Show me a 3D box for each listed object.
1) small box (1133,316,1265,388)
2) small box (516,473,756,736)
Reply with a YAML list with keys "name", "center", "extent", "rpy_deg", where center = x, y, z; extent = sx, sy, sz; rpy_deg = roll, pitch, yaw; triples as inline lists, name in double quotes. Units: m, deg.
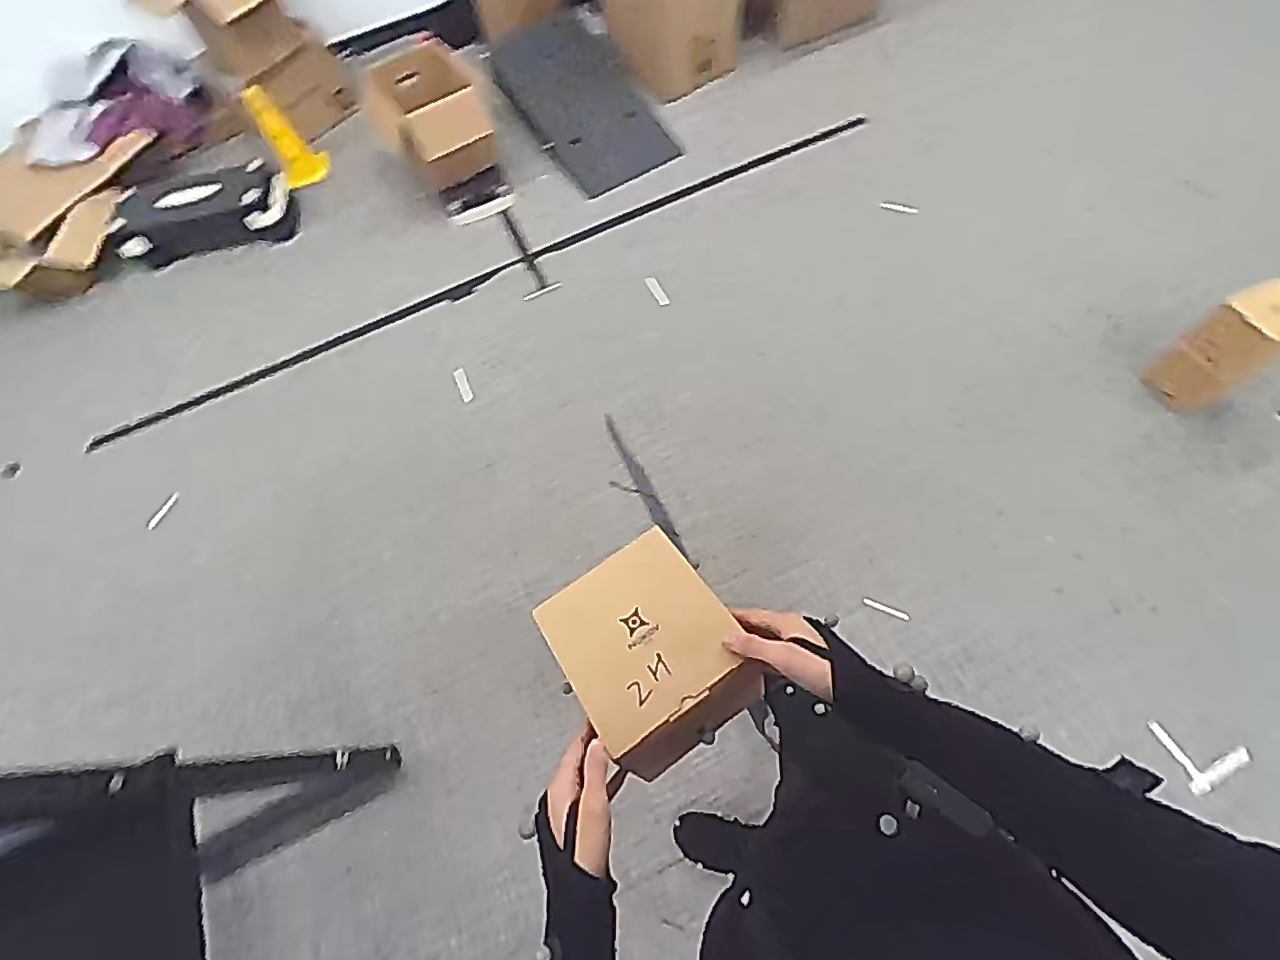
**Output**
- name: "small box"
  center: [1.648, -0.405, 1.607]
  extent: [0.179, 0.176, 0.168]
  rpy_deg: [-23, 65, -6]
- name: "small box"
  center: [0.002, 0.133, 0.560]
  extent: [0.168, 0.176, 0.179]
  rpy_deg: [-33, 56, -9]
